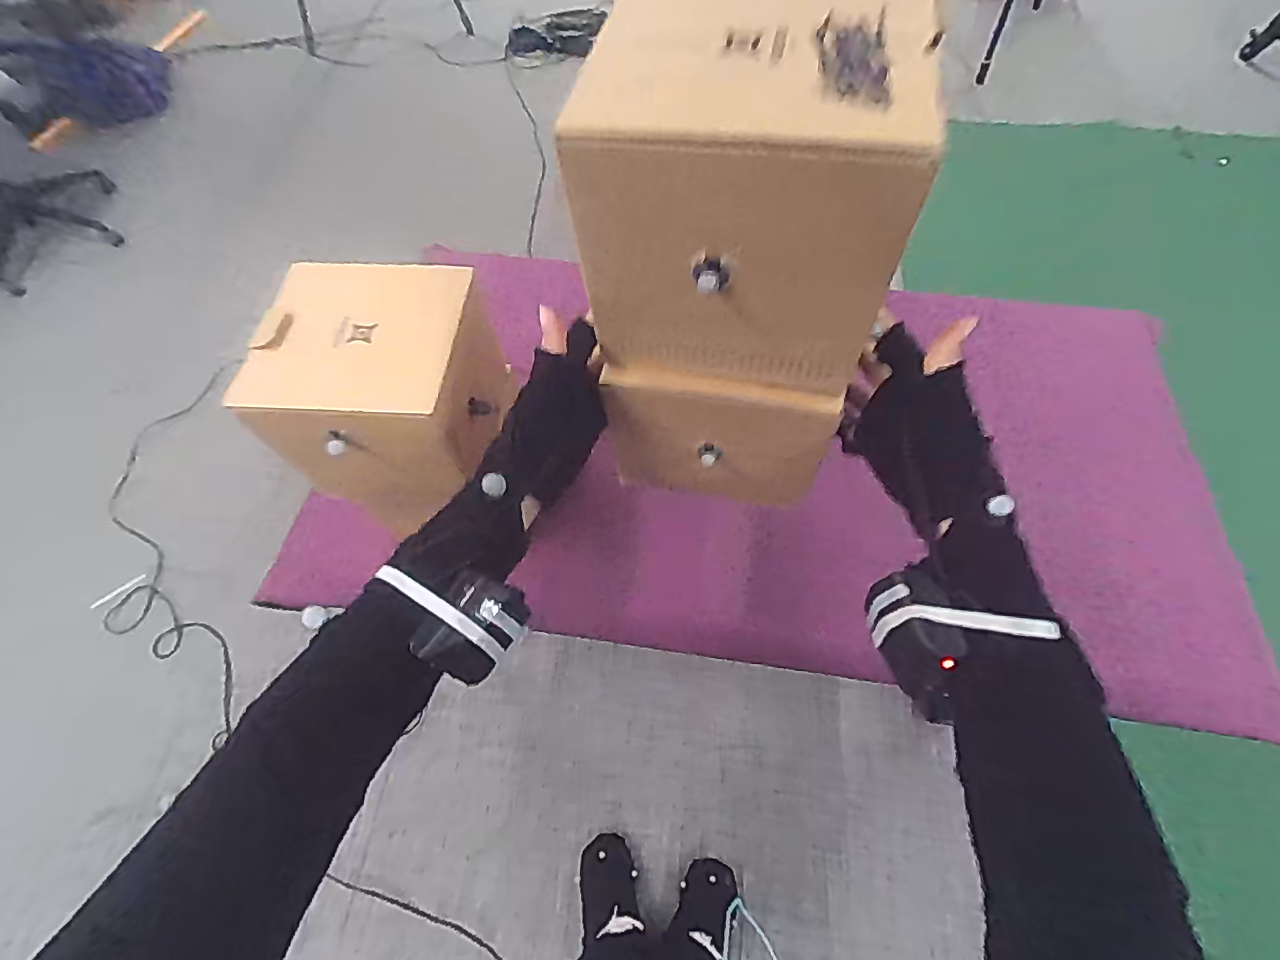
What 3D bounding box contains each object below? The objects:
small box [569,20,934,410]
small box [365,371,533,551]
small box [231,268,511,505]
[{"bbox_3d":[0.073,-0.166,0.364,0.179,0.176,0.168,10,63,11],"label":"small box"},{"bbox_3d":[-0.239,-0.024,0.692,0.168,0.176,0.179,3,63,2],"label":"small box"},{"bbox_3d":[-0.239,-0.083,0.540,0.179,0.176,0.168,3,63,2],"label":"small box"}]
